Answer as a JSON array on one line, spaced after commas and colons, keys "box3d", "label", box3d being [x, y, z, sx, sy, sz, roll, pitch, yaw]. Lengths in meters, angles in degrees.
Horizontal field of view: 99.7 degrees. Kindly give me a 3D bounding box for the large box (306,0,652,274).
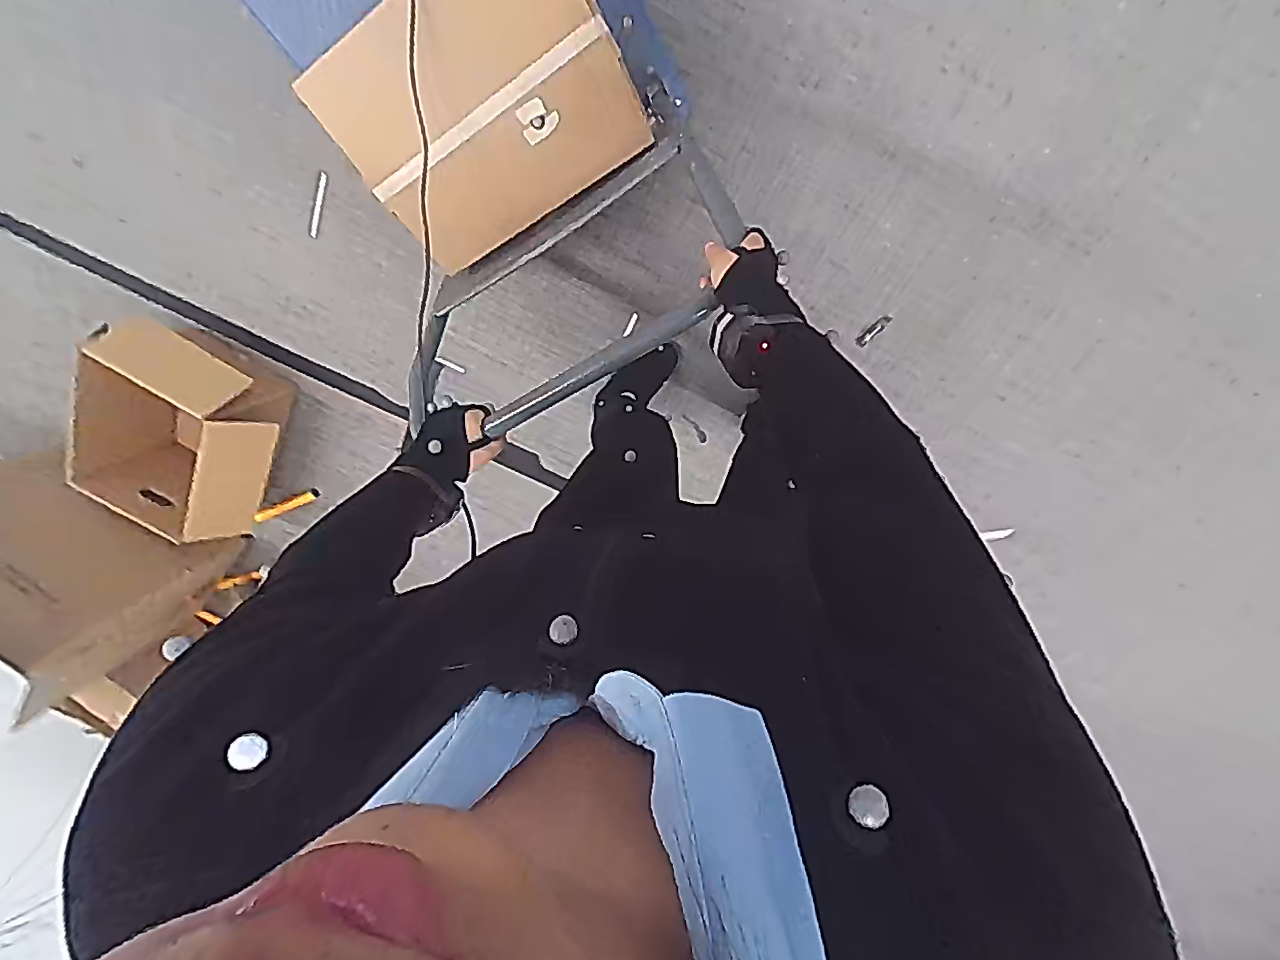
[{"box3d": [-0.235, -0.626, 0.891, 0.408, 0.320, 0.320, -26, 130, 17], "label": "large box"}]
